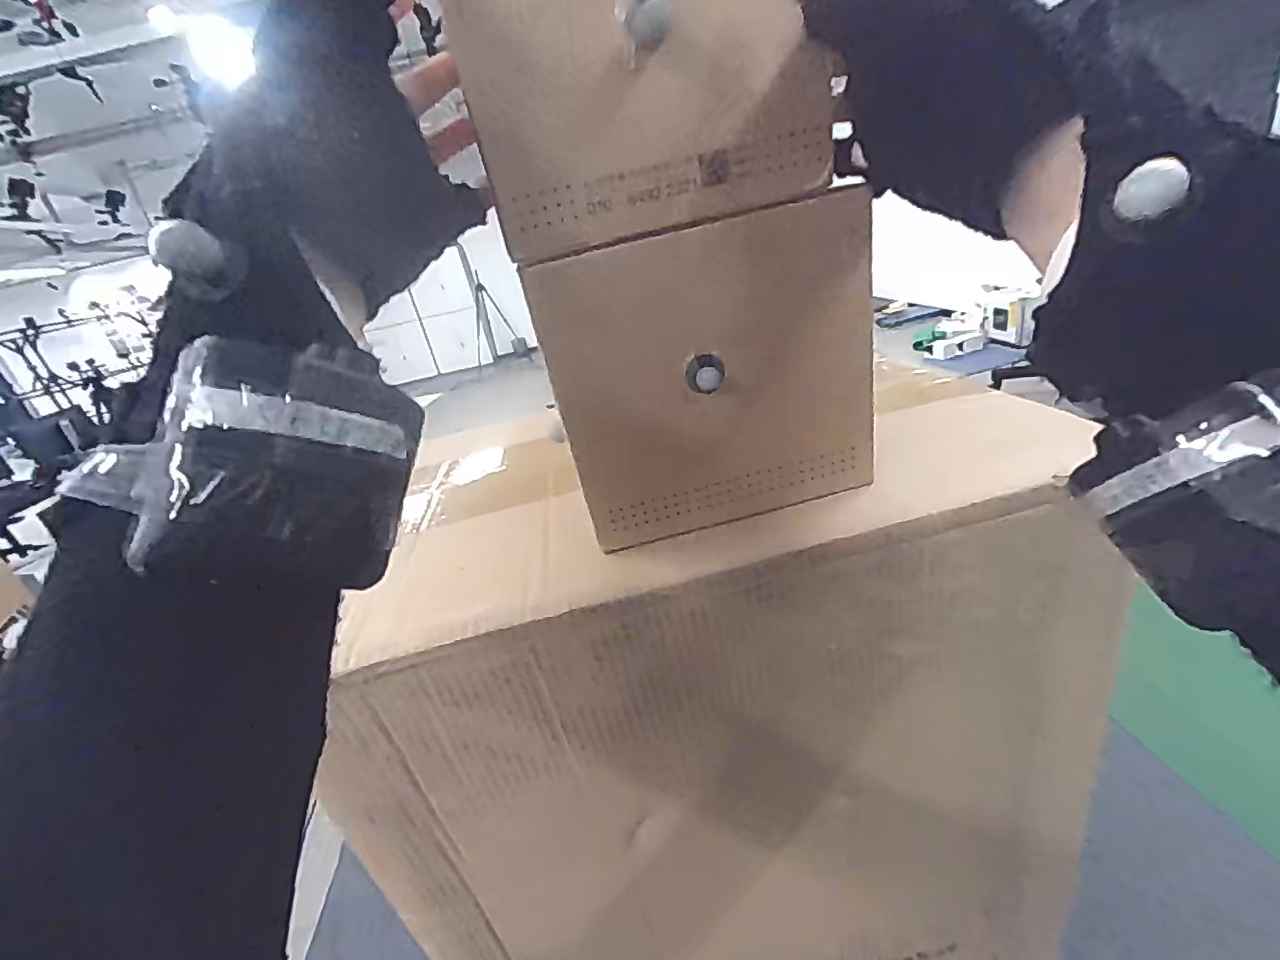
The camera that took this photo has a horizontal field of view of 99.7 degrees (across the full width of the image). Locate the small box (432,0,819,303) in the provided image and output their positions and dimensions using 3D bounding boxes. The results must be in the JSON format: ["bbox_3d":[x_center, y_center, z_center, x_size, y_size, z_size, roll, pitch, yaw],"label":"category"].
[{"bbox_3d":[-0.010,-0.209,0.318,0.168,0.176,0.179,-16,26,-5],"label":"small box"}]

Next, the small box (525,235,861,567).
[{"bbox_3d":[0.033,-0.065,0.377,0.179,0.176,0.168,-14,26,-1],"label":"small box"}]
